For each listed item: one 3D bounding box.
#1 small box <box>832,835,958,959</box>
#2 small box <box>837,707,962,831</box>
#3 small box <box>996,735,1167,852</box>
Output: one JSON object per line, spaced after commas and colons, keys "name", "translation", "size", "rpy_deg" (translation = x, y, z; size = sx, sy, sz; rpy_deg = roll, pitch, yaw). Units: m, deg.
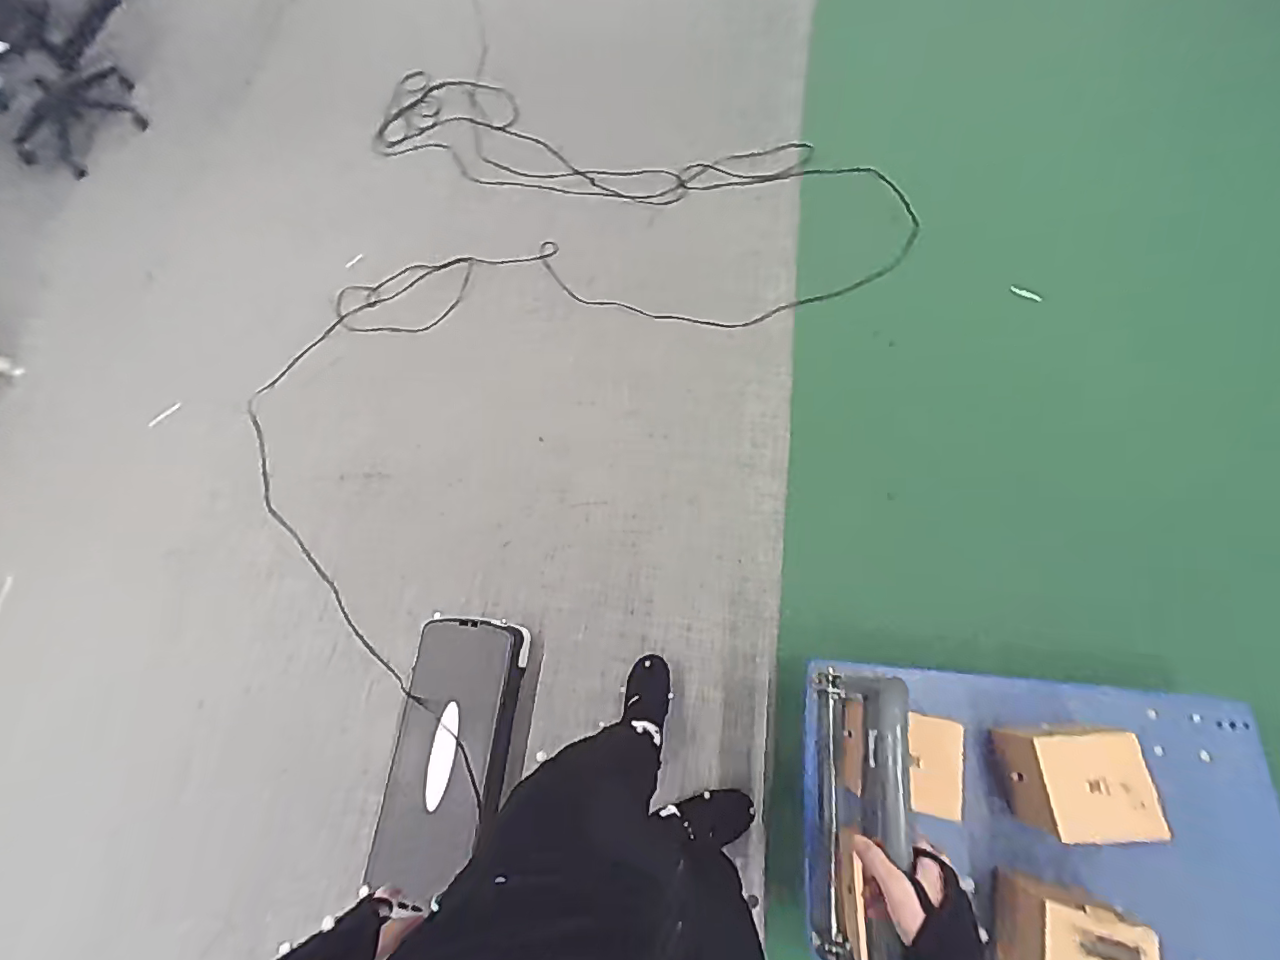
{"name": "small box", "translation": [0.455, 0.773, 0.988], "size": [0.168, 0.176, 0.179], "rpy_deg": [0, 71, 9]}
{"name": "small box", "translation": [0.504, 0.554, 1.064], "size": [0.179, 0.176, 0.168], "rpy_deg": [10, 72, 12]}
{"name": "small box", "translation": [0.803, 0.577, 1.012], "size": [0.179, 0.176, 0.168], "rpy_deg": [-5, 70, 6]}
